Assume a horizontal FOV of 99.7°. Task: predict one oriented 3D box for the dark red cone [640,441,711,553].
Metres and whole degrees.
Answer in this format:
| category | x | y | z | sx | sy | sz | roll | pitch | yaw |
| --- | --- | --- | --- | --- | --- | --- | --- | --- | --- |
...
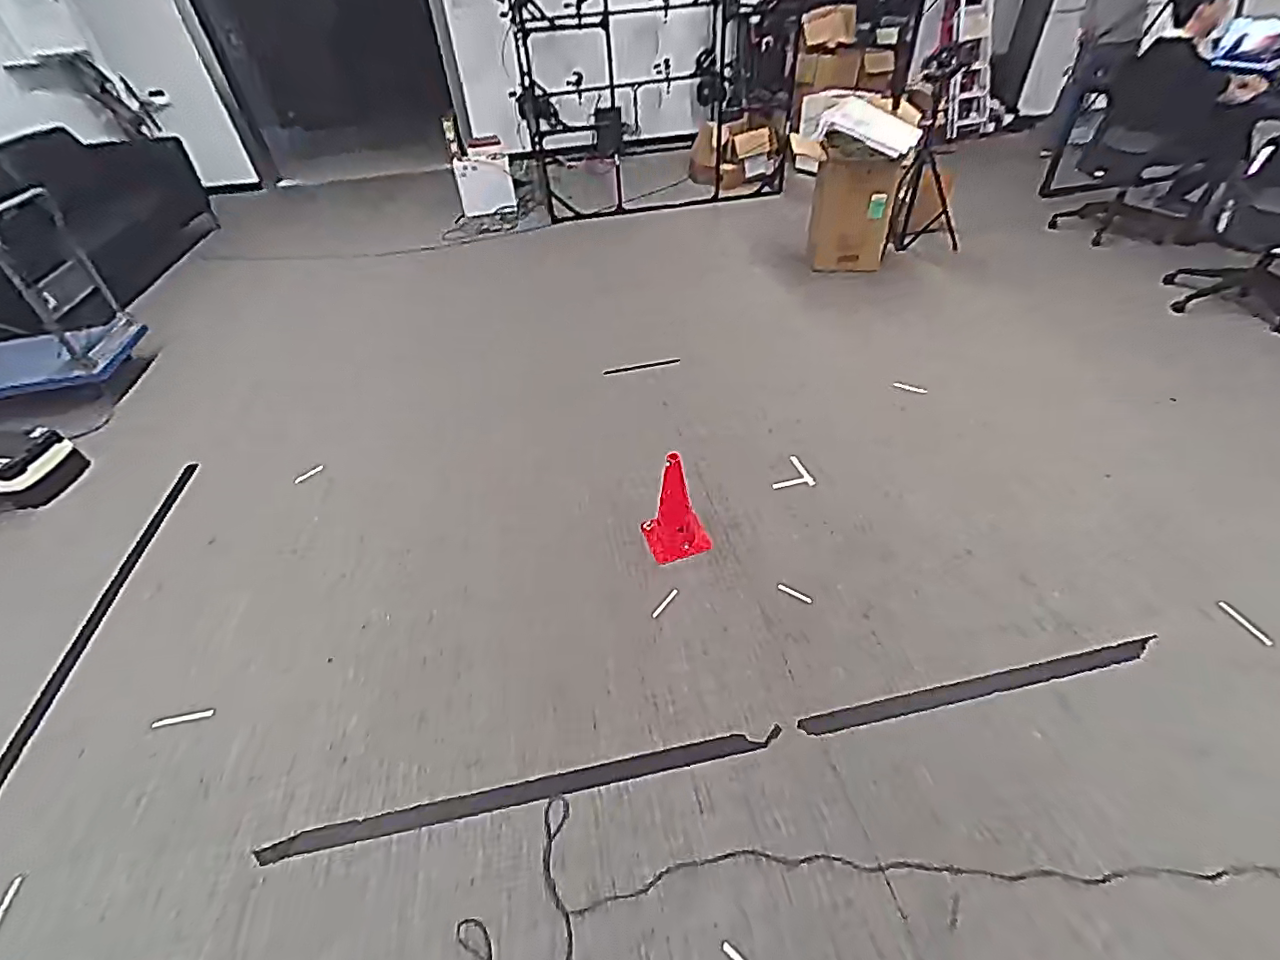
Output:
| category | x | y | z | sx | sy | sz | roll | pitch | yaw |
| --- | --- | --- | --- | --- | --- | --- | --- | --- | --- |
| dark red cone | 0.109 | 0.040 | 1.716 | 0.202 | 0.394 | 0.201 | -16 | 44 | -12 |
